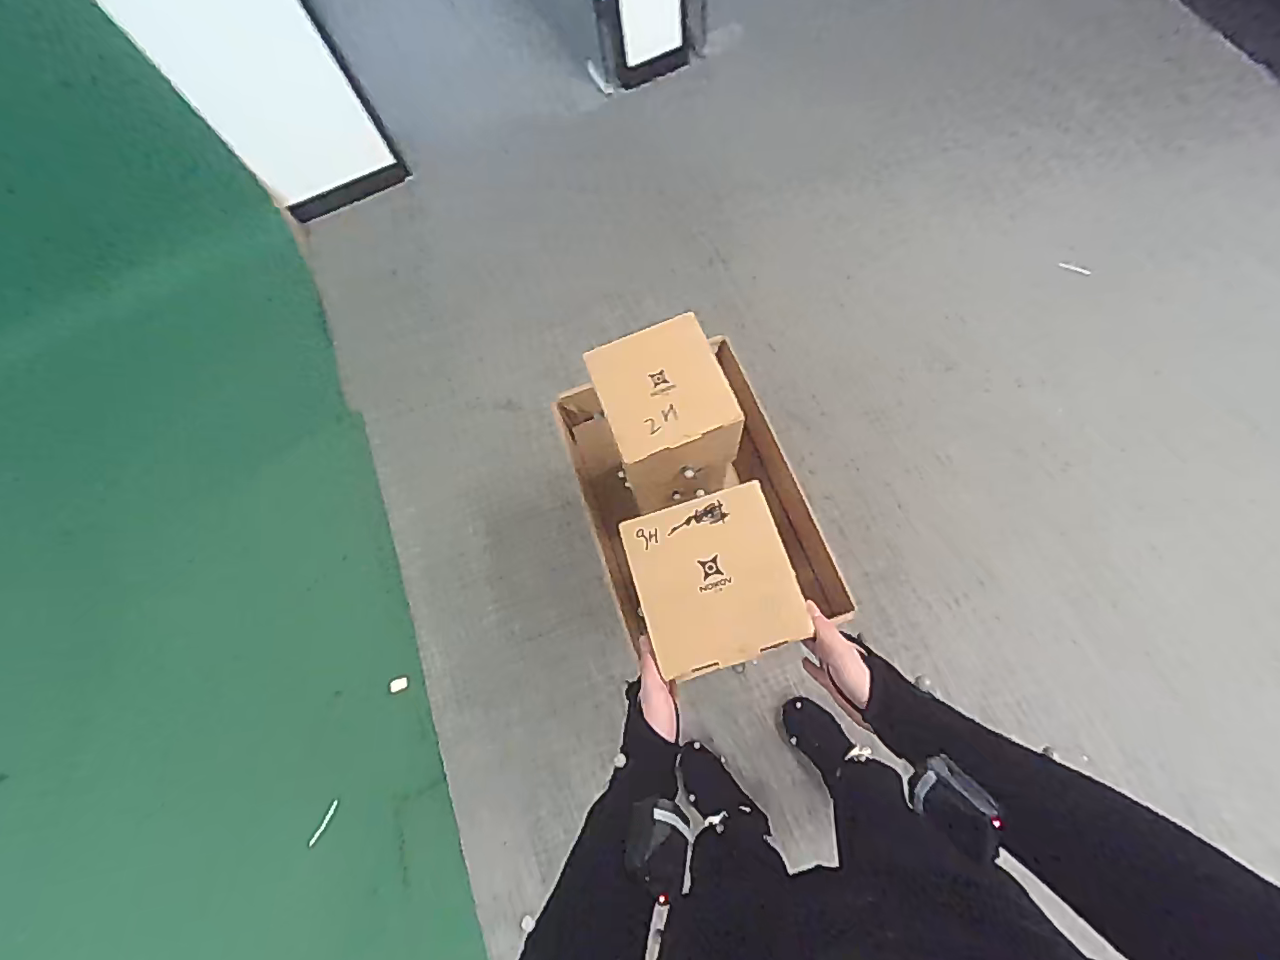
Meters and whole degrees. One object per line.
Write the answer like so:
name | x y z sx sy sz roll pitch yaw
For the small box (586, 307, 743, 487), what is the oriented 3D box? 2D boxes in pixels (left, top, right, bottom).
small box | 0.035 -0.112 0.790 0.168 0.176 0.179 -21 73 0

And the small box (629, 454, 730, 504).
small box | 0.047 -0.077 0.952 0.168 0.176 0.179 -20 73 -1

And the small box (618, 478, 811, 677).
small box | 0.086 0.120 0.652 0.168 0.176 0.179 -18 73 2
